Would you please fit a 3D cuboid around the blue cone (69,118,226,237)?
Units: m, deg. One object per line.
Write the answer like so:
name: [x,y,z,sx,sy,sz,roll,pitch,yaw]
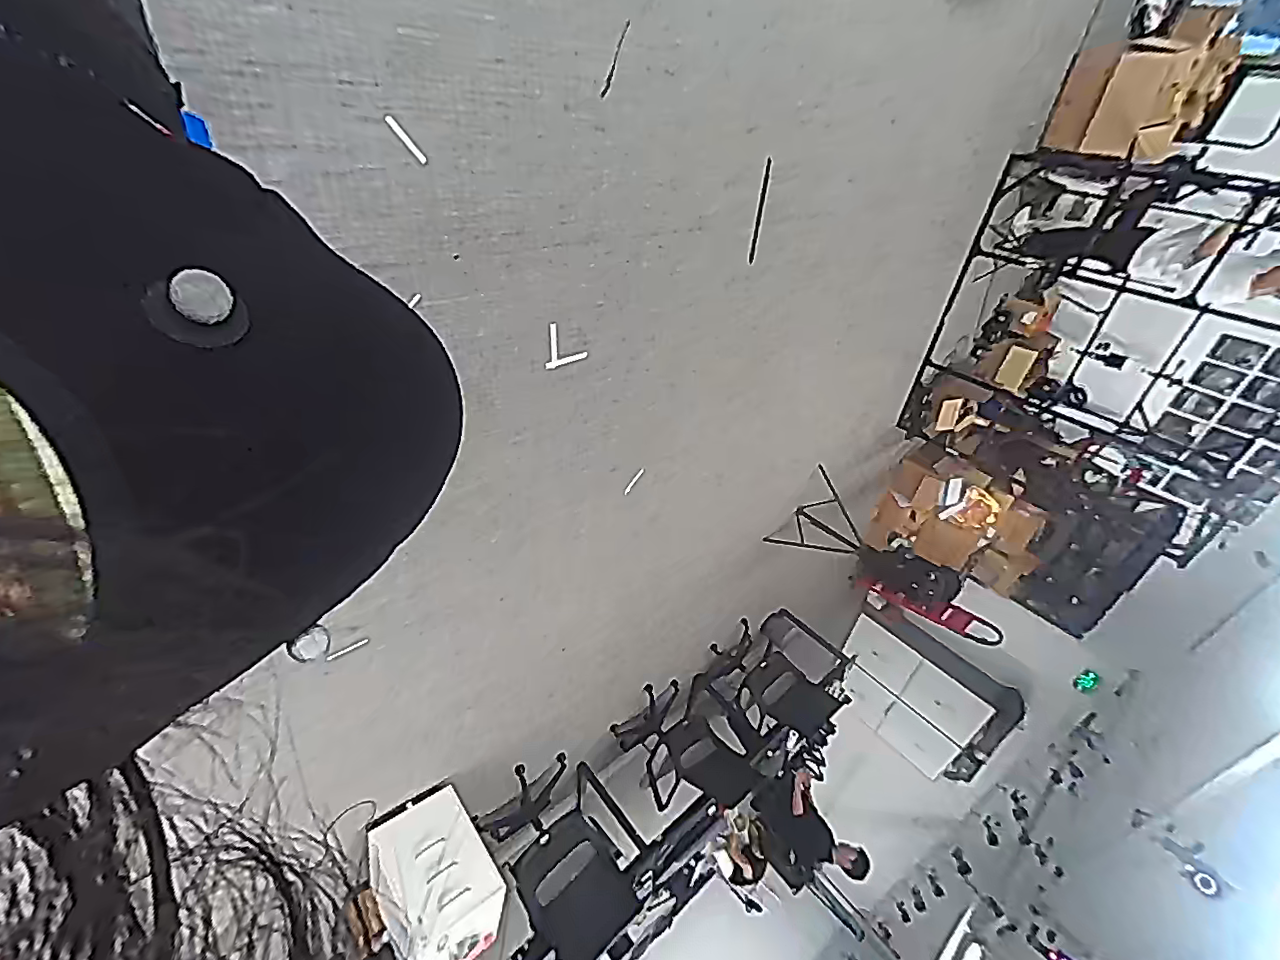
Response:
blue cone: [-0.793,-0.472,0.910,0.193,0.380,0.192,-21,135,-36]
